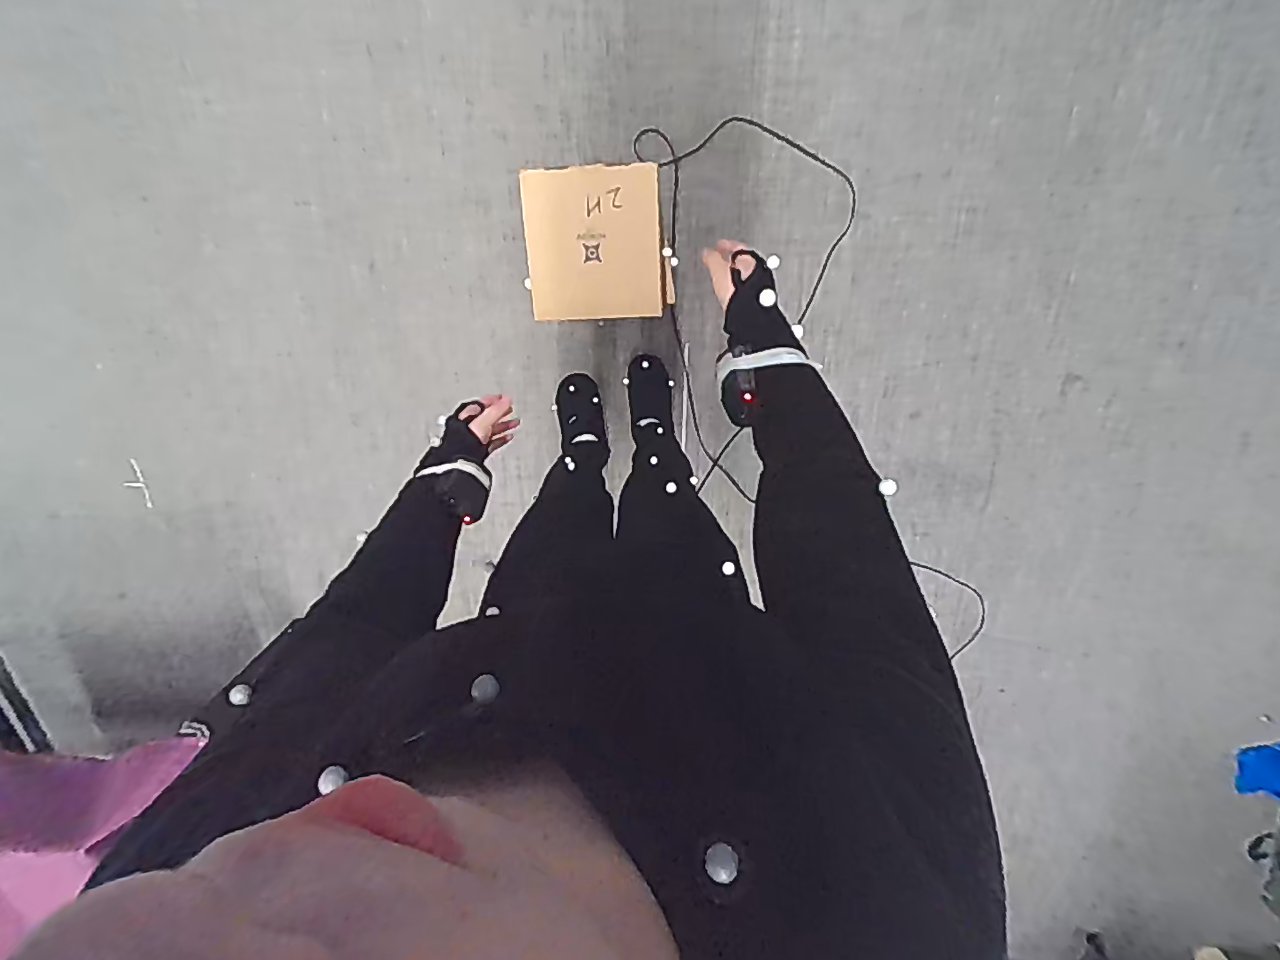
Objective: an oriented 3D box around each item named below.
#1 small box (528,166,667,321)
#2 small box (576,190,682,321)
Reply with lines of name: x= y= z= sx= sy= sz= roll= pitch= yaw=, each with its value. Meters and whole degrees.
small box: x=-0.047 y=-0.320 z=0.746 sx=0.168 sy=0.176 sz=0.179 roll=-1 pitch=111 yaw=3
small box: x=-0.029 y=-0.371 z=0.901 sx=0.179 sy=0.176 sz=0.168 roll=-8 pitch=110 yaw=7
